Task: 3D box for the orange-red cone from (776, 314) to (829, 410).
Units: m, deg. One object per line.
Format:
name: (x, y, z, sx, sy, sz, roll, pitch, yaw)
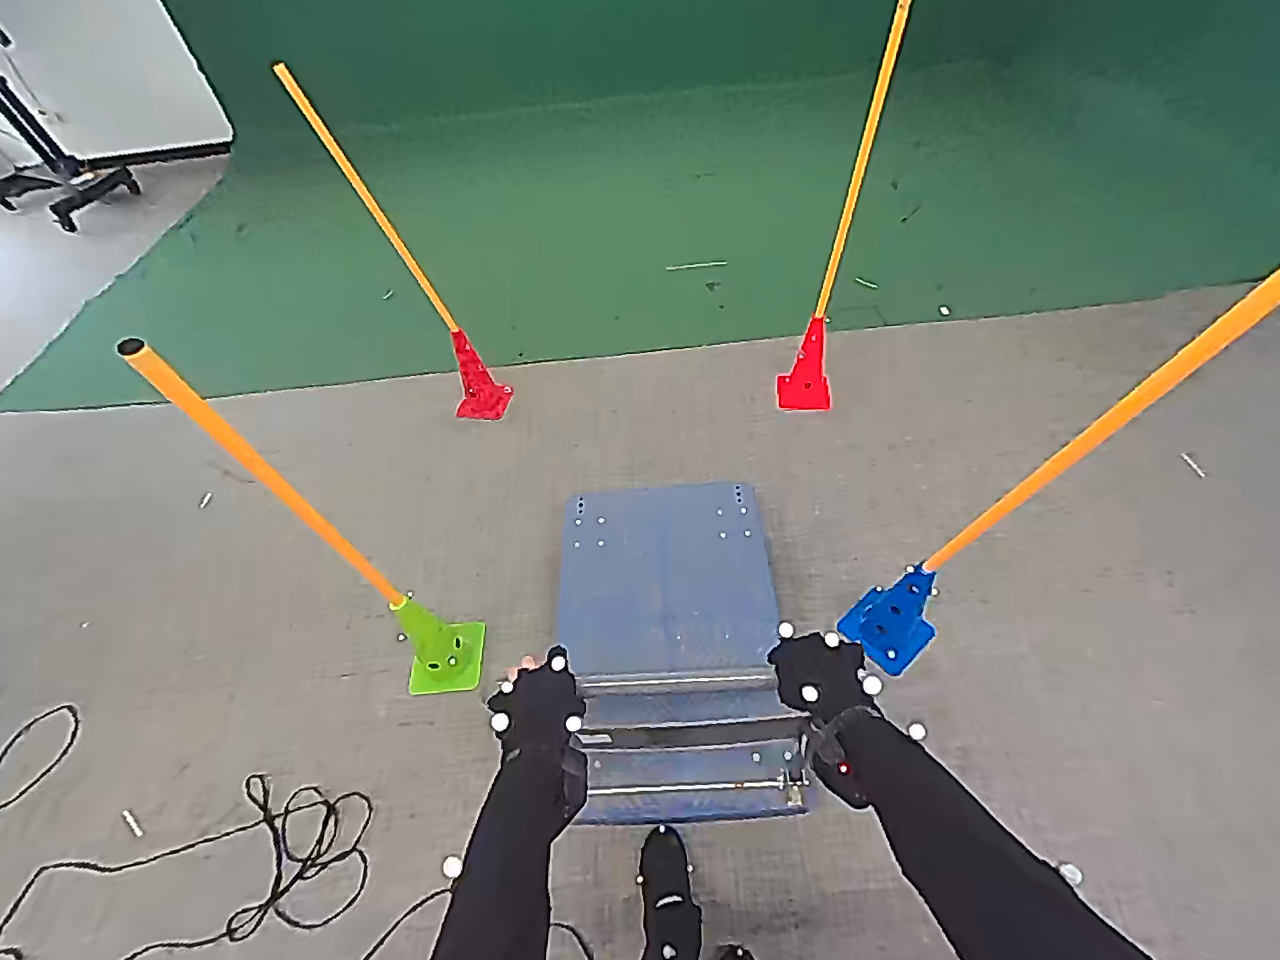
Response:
orange-red cone: (0.625, -0.450, 2.001, 0.198, 0.360, 0.199, 3, 52, 9)
